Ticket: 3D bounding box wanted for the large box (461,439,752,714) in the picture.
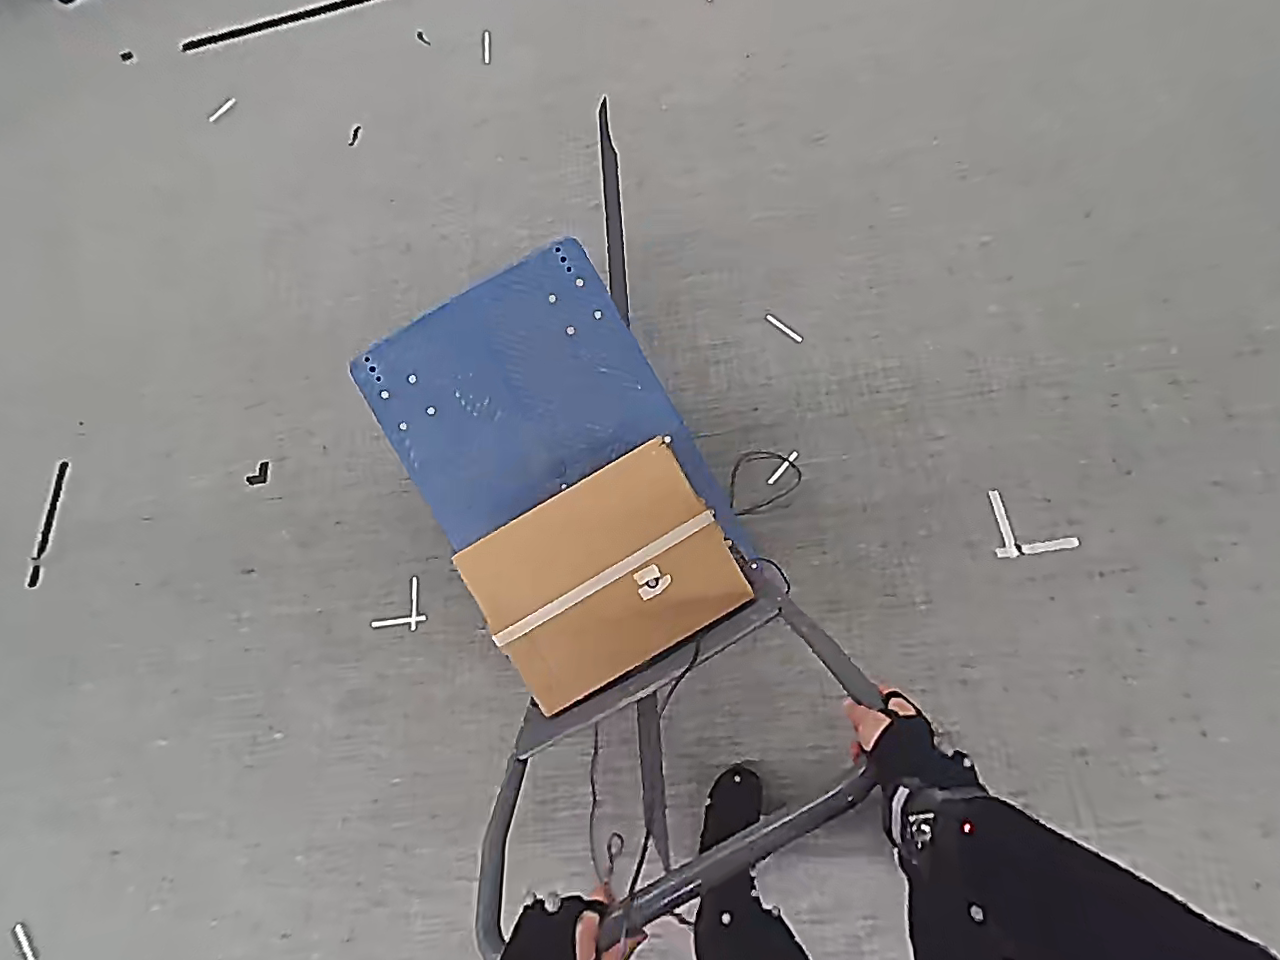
[{"bbox_3d":[-0.059,0.162,1.052,0.408,0.320,0.320,-31,92,-1],"label":"large box"}]
